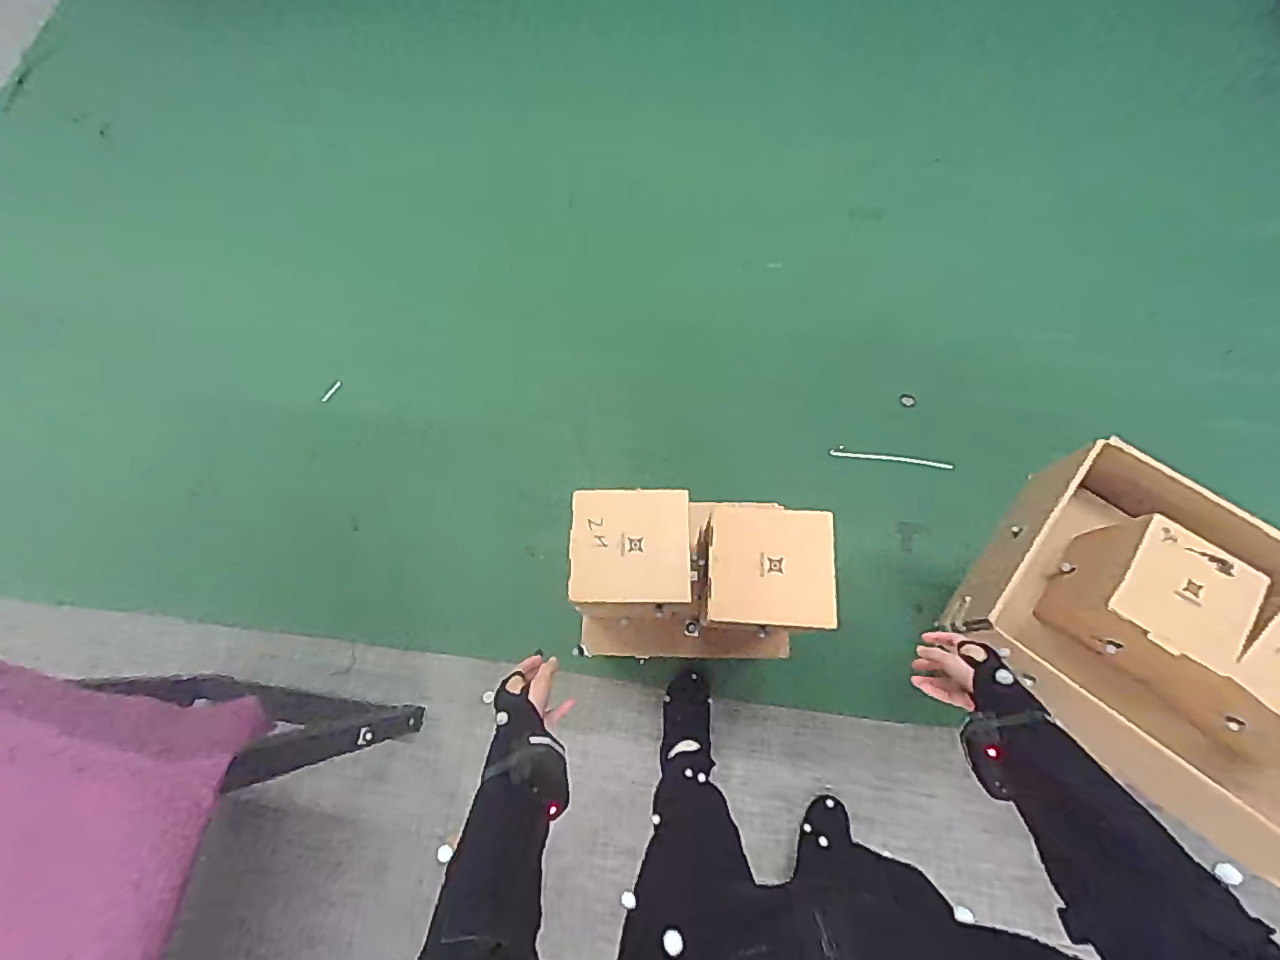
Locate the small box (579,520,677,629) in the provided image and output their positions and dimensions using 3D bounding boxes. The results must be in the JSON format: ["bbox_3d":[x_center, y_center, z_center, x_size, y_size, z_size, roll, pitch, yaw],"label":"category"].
[{"bbox_3d":[-0.016,0.180,1.012,0.168,0.176,0.179,1,72,4],"label":"small box"}]

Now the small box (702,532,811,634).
[{"bbox_3d":[0.203,0.194,0.992,0.179,0.176,0.168,-1,72,4],"label":"small box"}]
